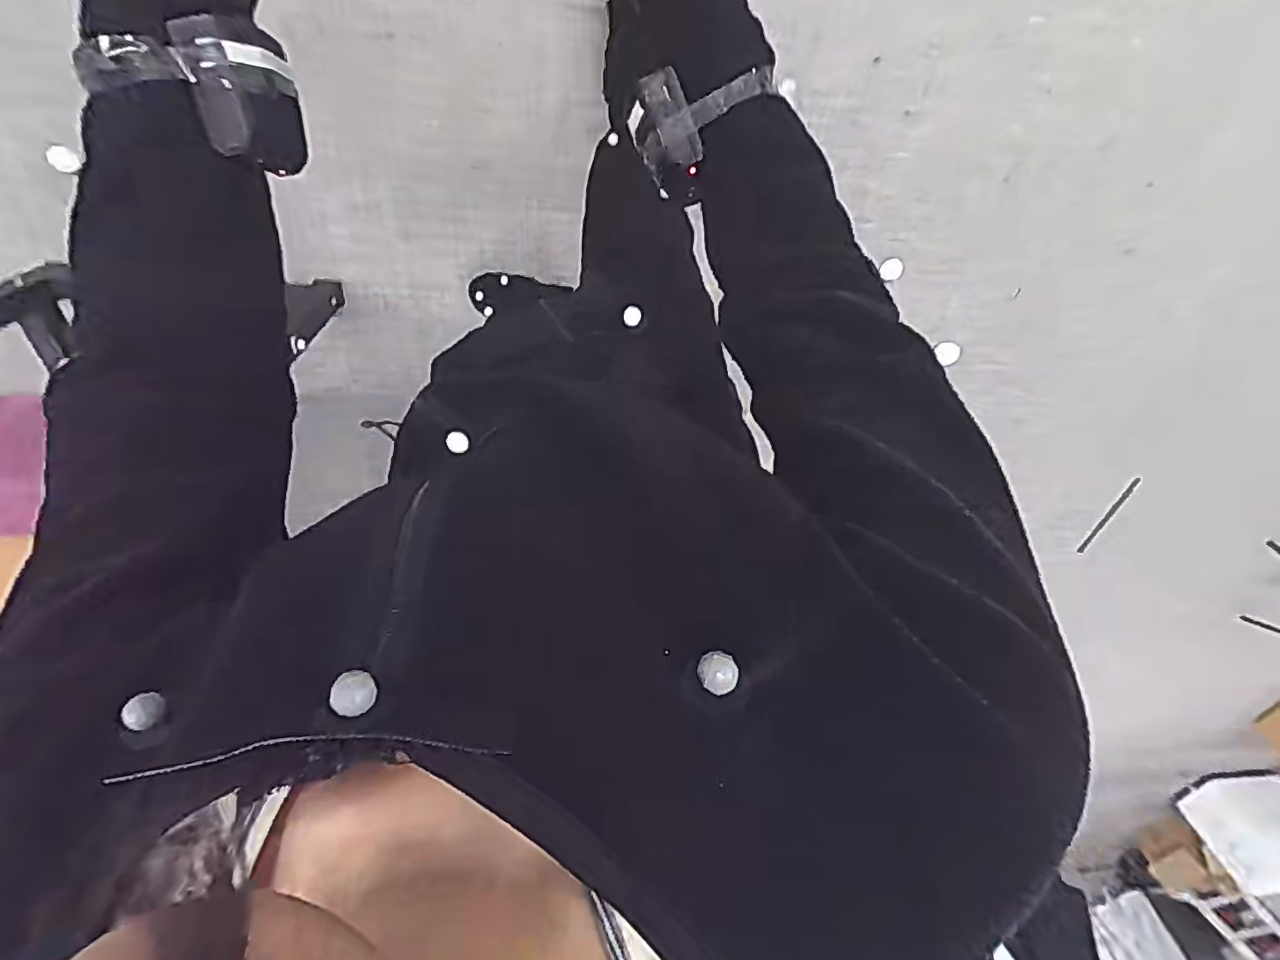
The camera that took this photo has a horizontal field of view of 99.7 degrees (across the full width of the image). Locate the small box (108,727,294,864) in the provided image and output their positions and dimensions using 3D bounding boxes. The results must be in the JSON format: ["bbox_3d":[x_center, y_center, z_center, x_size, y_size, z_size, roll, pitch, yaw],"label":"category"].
[{"bbox_3d":[-0.732,0.541,0.928,0.168,0.176,0.179,2,128,-9],"label":"small box"}]

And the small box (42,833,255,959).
[{"bbox_3d":[-0.710,0.643,0.800,0.179,0.176,0.168,3,129,-9],"label":"small box"}]
